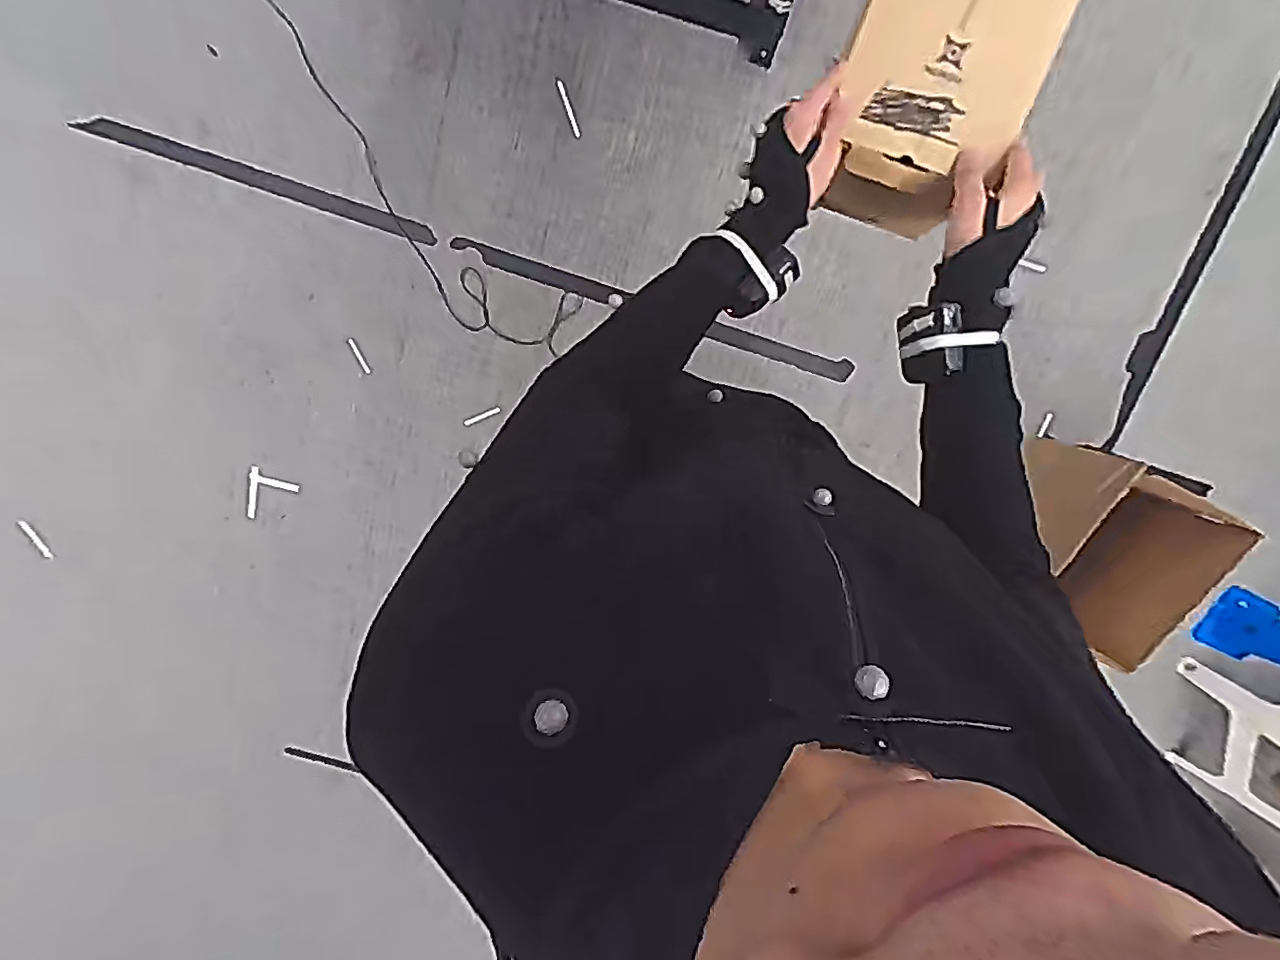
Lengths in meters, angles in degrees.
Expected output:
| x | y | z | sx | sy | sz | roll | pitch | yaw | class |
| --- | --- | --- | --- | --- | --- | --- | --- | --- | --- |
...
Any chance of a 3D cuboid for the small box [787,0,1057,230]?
| x | y | z | sx | sy | sz | roll | pitch | yaw | class |
| --- | --- | --- | --- | --- | --- | --- | --- | --- | --- |
| 0.263 | -0.384 | 0.555 | 0.168 | 0.176 | 0.179 | 19 | 101 | 1 | small box |
